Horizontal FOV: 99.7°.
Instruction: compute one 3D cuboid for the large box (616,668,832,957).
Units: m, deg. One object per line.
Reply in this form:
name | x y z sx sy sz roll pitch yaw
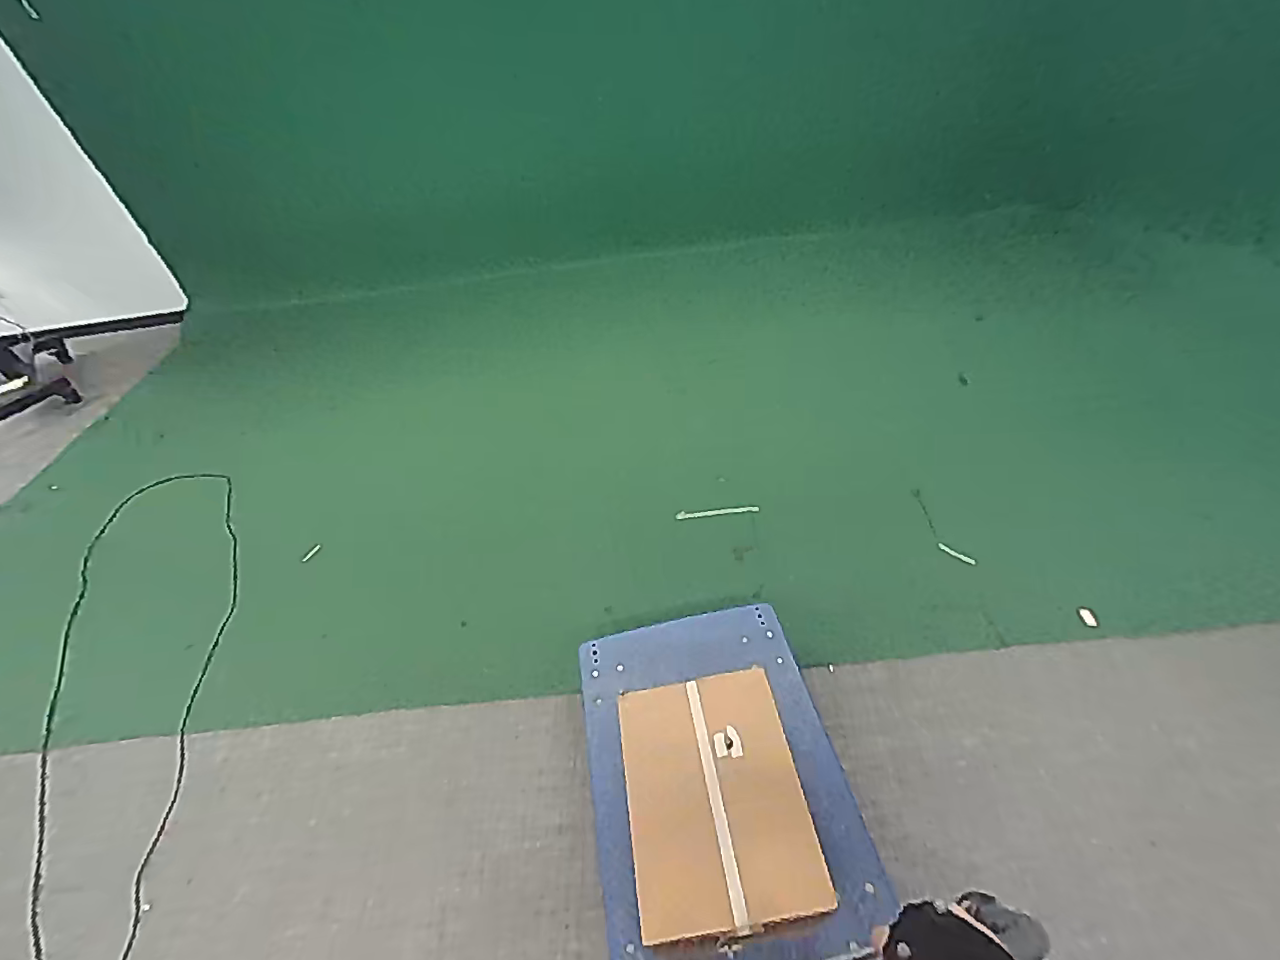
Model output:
large box | 0.148 0.662 1.093 0.320 0.320 0.408 -10 44 -1
